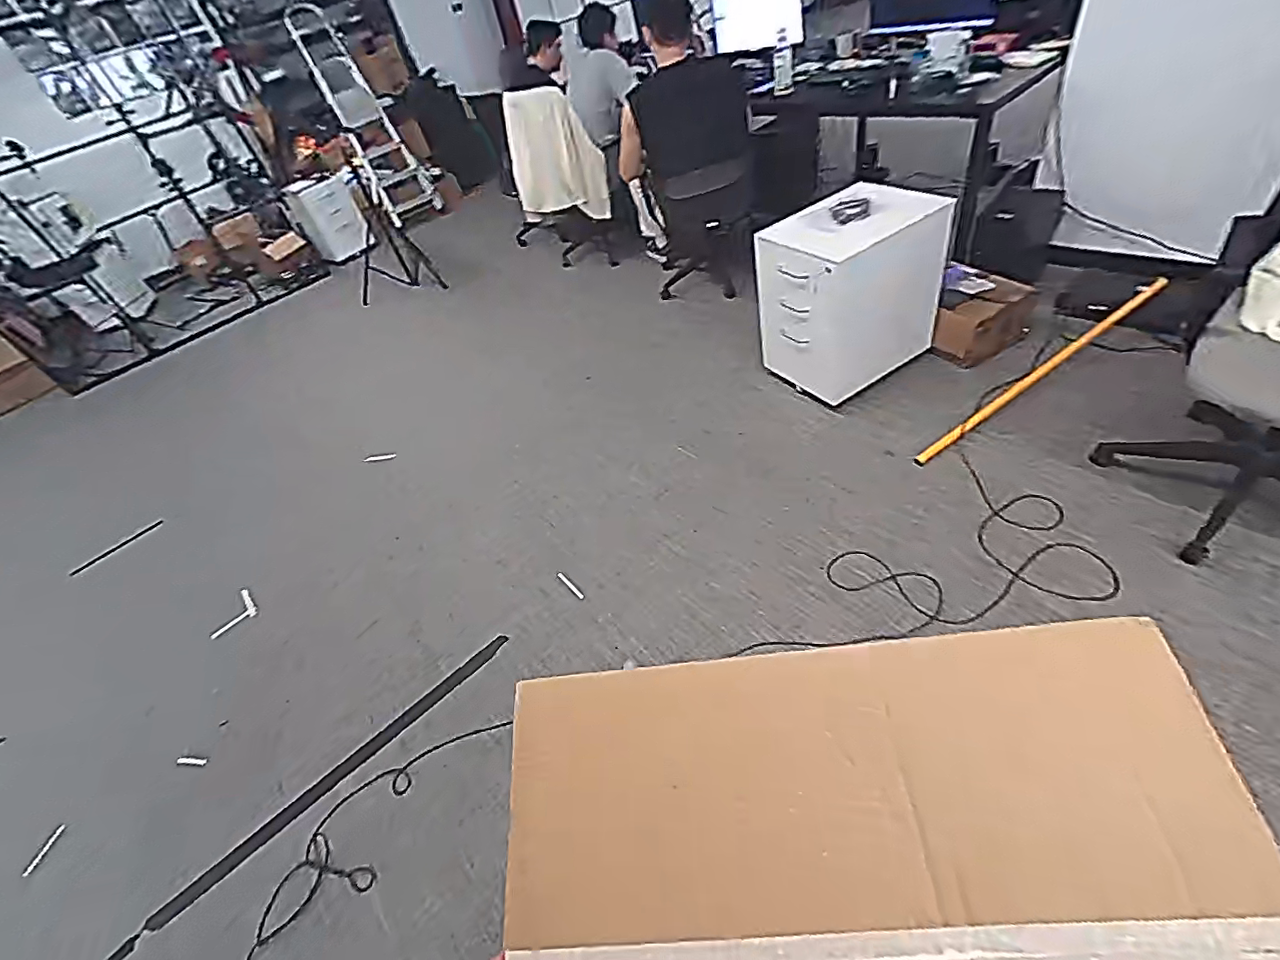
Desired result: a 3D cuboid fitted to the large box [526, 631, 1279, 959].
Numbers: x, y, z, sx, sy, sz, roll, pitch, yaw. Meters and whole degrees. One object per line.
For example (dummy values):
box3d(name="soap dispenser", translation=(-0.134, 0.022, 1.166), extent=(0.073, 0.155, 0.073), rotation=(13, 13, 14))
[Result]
box3d(name="large box", translation=(0.152, 0.330, 0.420), extent=(0.408, 0.320, 0.320), rotation=(-9, 62, 7))
